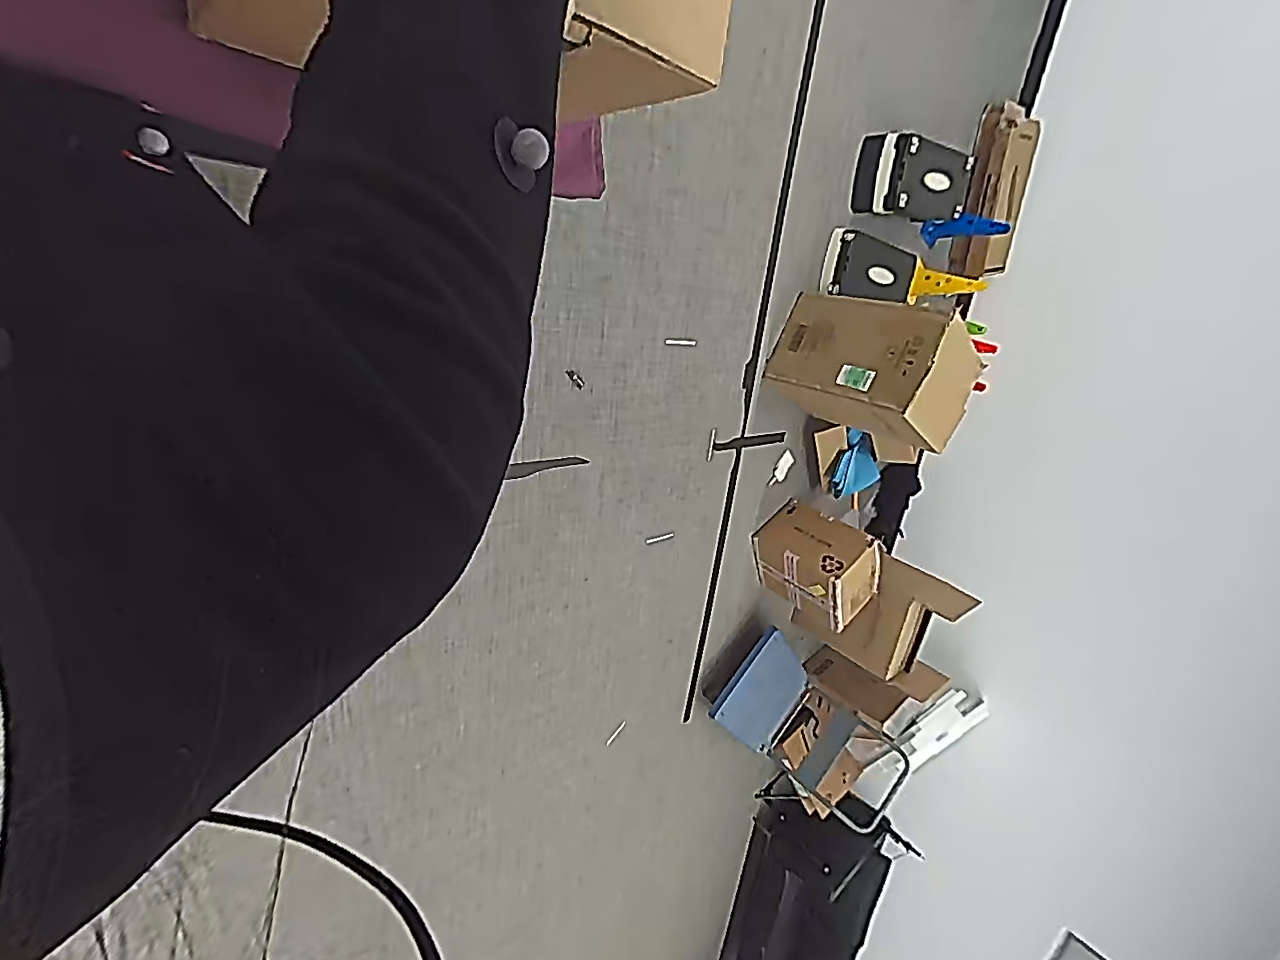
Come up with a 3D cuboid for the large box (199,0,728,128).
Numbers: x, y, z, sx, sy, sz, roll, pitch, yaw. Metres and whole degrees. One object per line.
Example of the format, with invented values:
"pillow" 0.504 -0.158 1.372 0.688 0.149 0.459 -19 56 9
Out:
"large box" -0.132 -0.523 0.370 0.320 0.320 0.408 -12 116 -41
